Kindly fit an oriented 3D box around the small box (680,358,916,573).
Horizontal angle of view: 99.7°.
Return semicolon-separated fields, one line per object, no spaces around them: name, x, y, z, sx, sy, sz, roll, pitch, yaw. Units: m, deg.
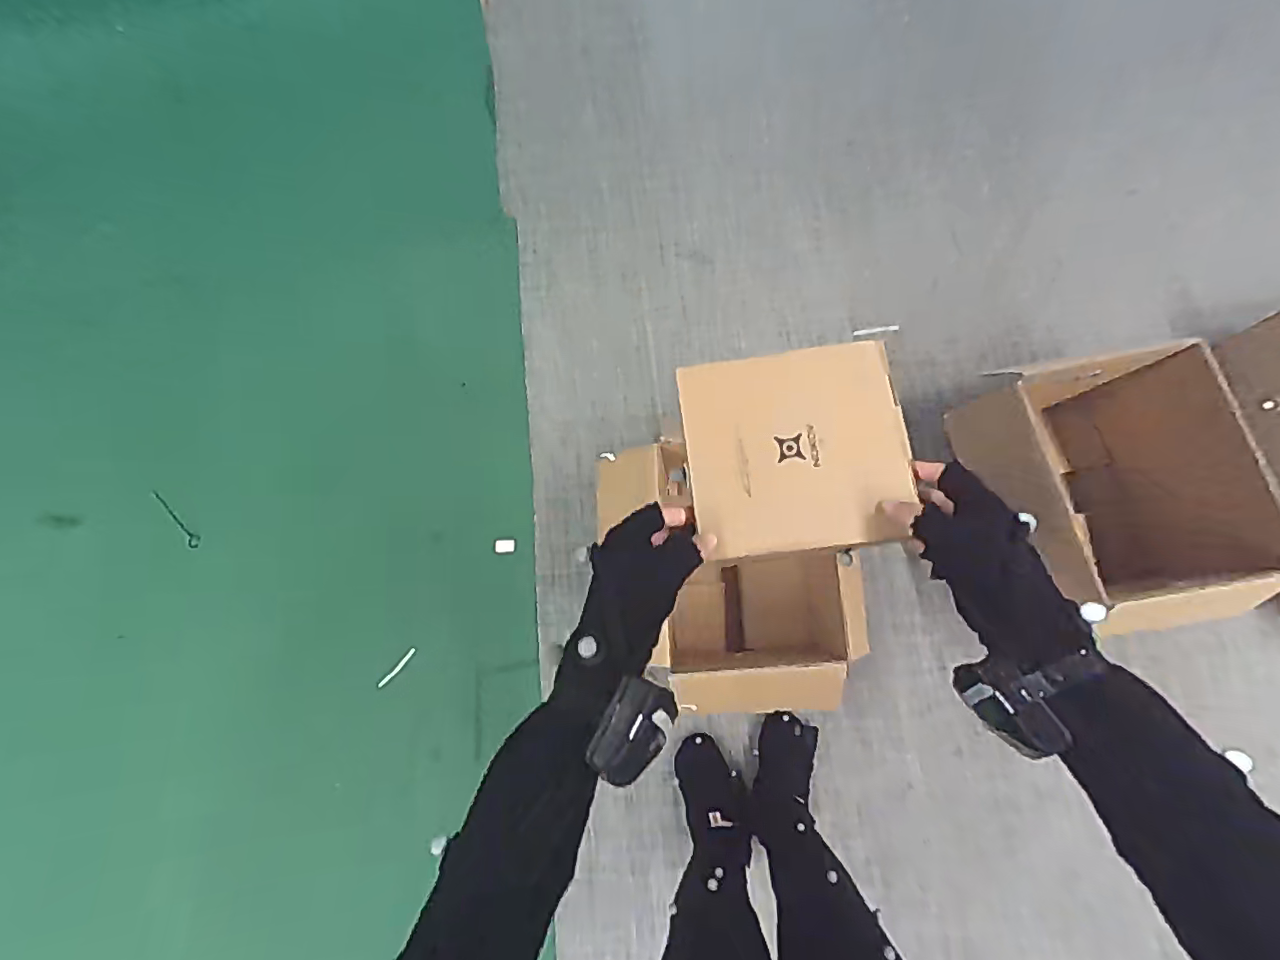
small box;0.134;-0.001;0.532;0.179;0.176;0.168;-7;77;3
